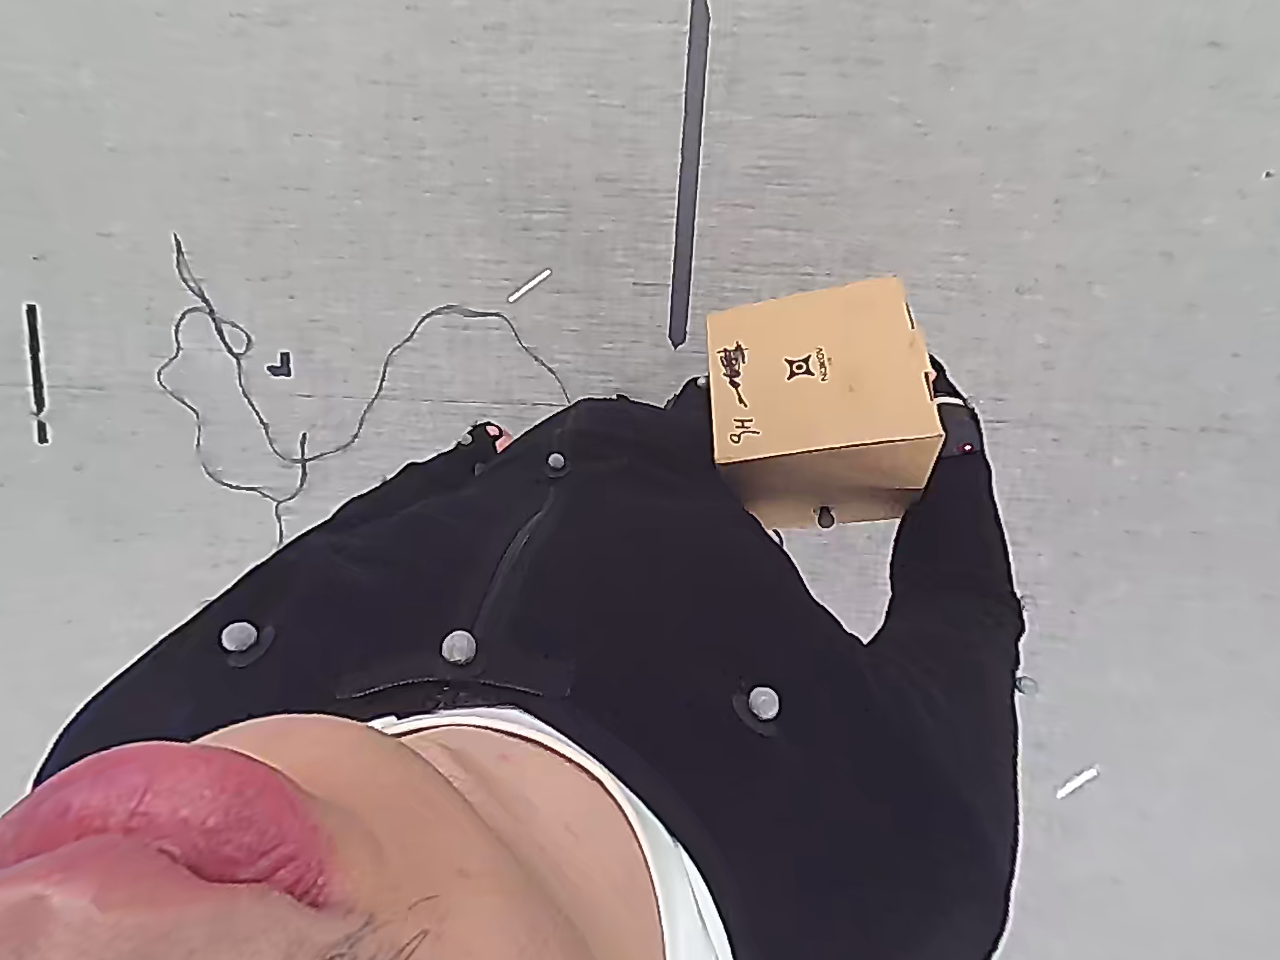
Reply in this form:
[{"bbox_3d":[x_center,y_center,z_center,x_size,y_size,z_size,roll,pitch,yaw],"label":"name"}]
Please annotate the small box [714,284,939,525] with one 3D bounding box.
[{"bbox_3d":[0.174,-0.063,0.547,0.179,0.176,0.168,-6,62,15],"label":"small box"}]
